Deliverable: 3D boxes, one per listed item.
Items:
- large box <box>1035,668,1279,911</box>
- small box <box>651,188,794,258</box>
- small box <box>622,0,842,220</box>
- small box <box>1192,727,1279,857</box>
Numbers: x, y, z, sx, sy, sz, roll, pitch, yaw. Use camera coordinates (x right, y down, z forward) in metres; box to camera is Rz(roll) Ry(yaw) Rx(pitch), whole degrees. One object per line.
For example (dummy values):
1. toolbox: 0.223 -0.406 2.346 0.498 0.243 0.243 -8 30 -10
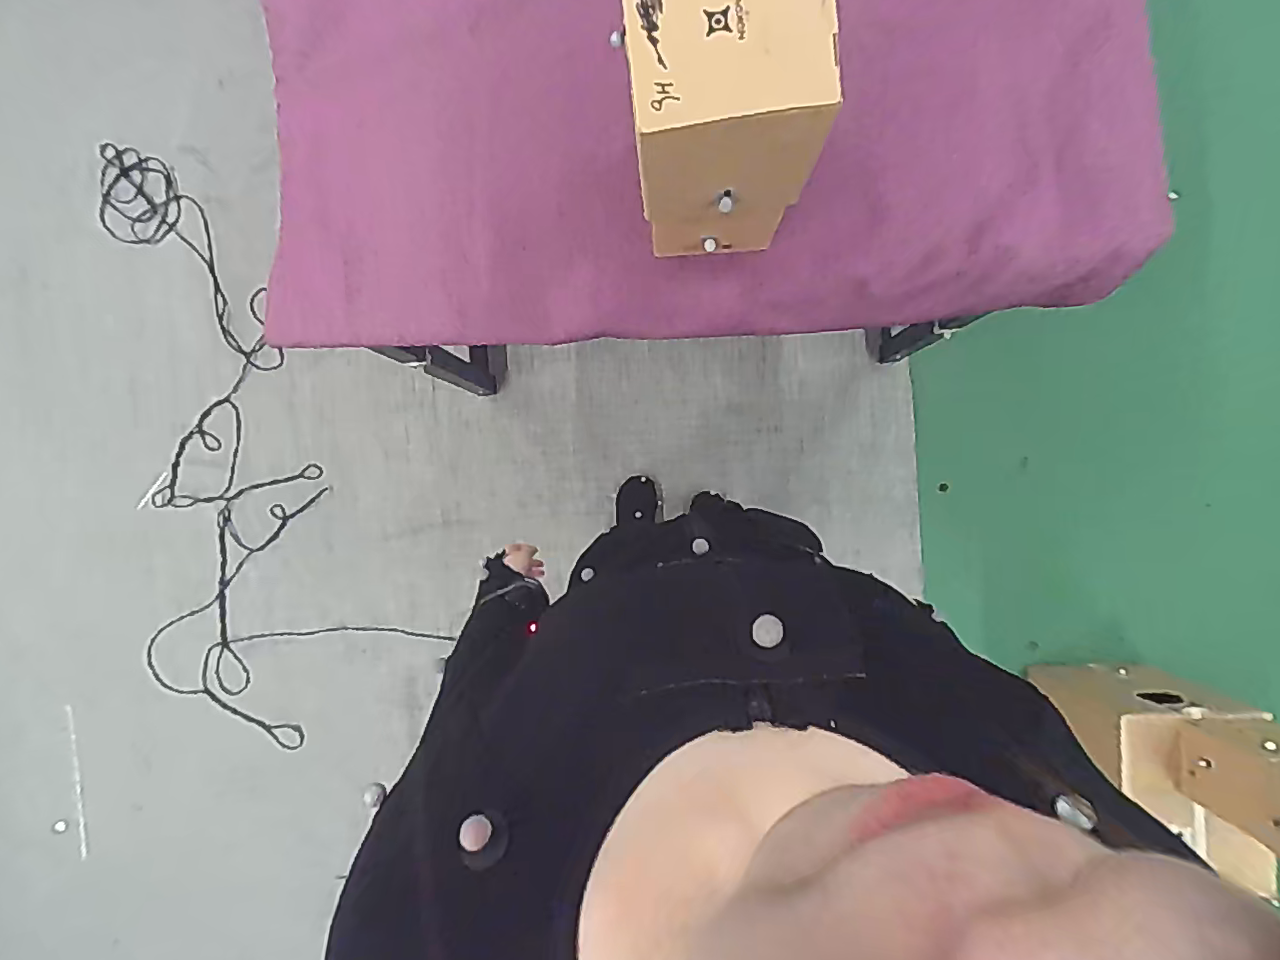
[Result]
1. large box: 1.200 0.701 1.282 0.320 0.320 0.408 -2 91 4
2. small box: 0.094 -0.408 0.692 0.168 0.176 0.179 -3 90 4
3. small box: 0.077 -0.380 0.529 0.179 0.176 0.168 -6 90 3
4. small box: 1.232 0.592 1.038 0.179 0.176 0.168 -2 90 3
